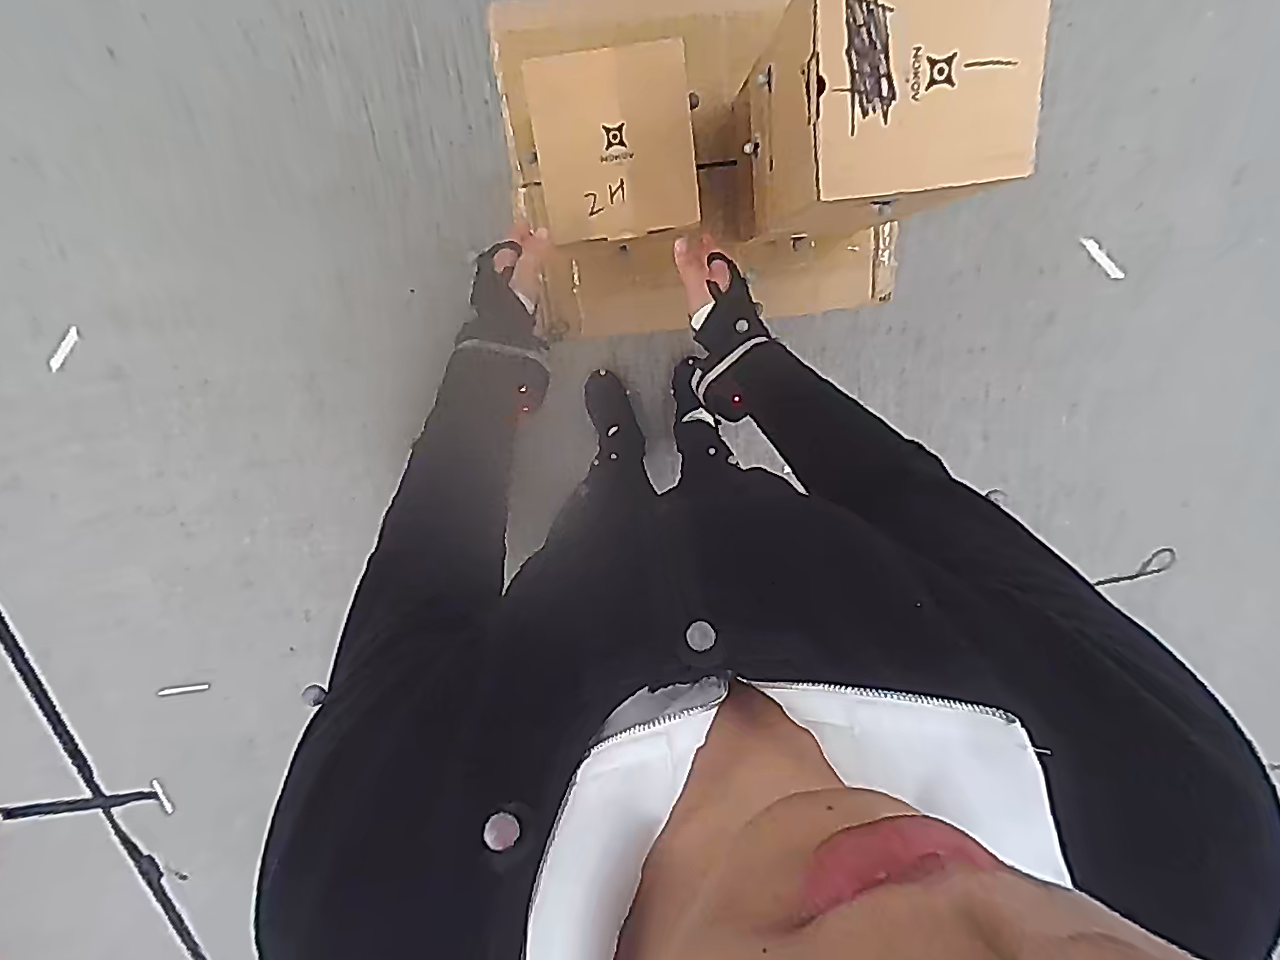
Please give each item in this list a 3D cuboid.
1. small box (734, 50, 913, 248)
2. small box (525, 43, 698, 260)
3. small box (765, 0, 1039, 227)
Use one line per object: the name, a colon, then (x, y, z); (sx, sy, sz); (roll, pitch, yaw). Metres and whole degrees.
small box: (0.211, -0.389, 0.651); (0.168, 0.176, 0.179); (-7, 109, 2)
small box: (-0.032, -0.372, 0.645); (0.168, 0.176, 0.179); (-9, 108, -1)
small box: (0.216, -0.338, 0.494); (0.179, 0.176, 0.168); (-7, 108, 1)
